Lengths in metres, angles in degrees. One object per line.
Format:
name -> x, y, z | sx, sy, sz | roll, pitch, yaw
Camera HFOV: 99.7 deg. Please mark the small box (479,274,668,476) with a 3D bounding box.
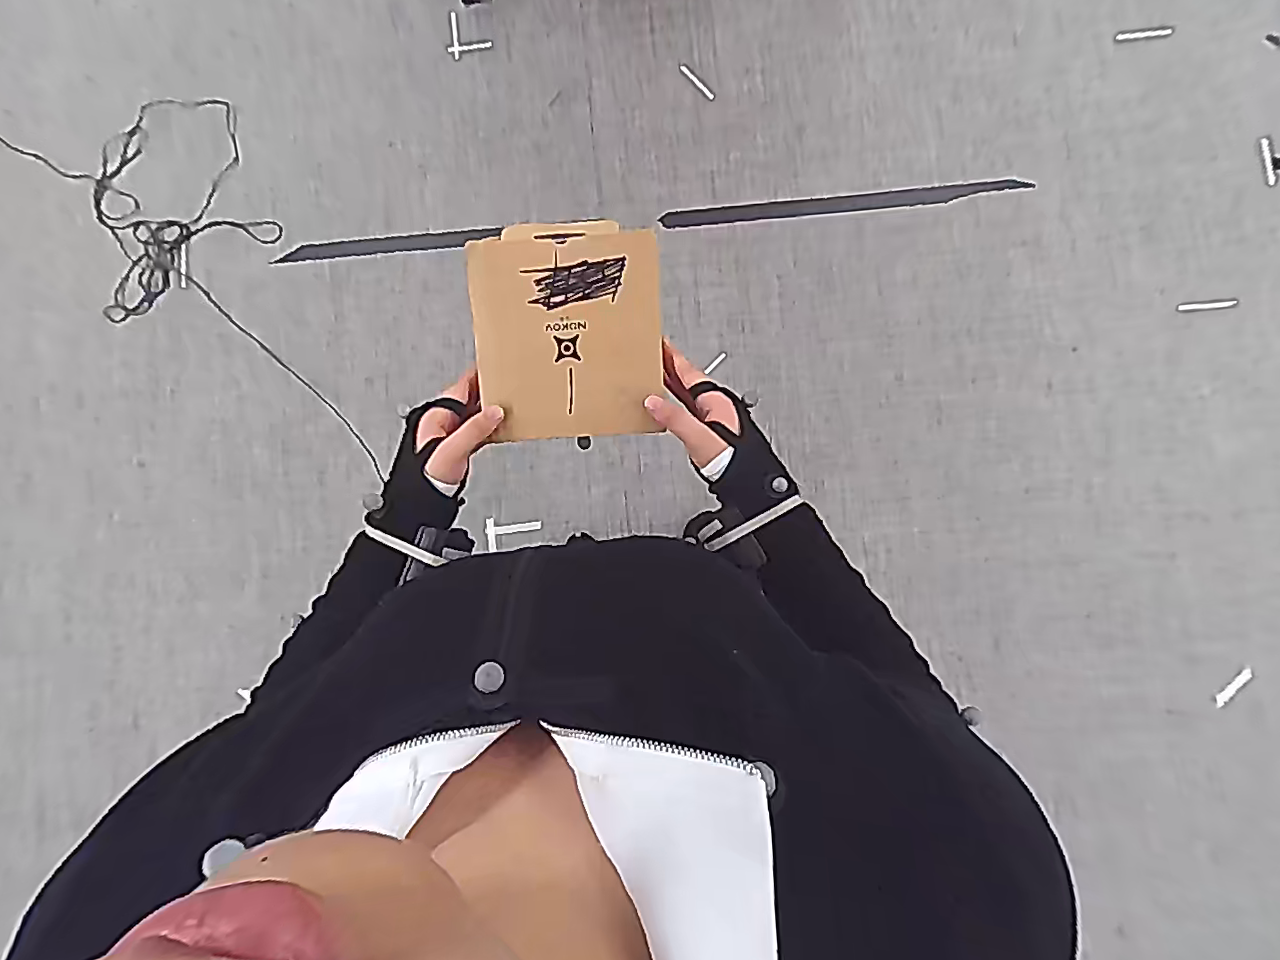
small box -> -0.059, -0.102, 0.567 | 0.168, 0.176, 0.179 | -3, 97, 1
